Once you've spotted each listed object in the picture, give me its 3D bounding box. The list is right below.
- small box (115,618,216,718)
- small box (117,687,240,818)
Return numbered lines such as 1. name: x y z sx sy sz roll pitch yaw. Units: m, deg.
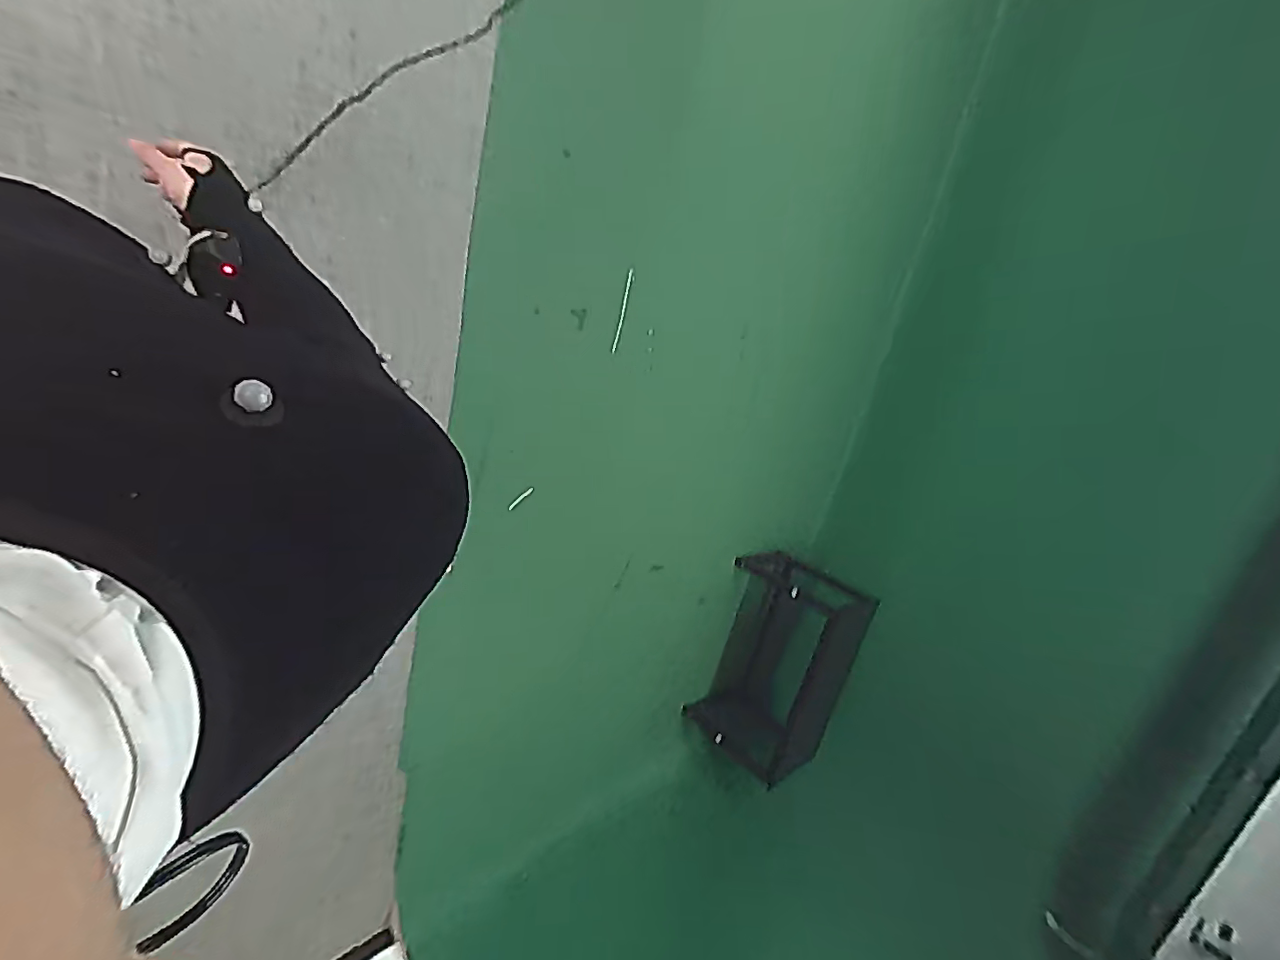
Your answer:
1. small box: -1.226 0.474 1.396 0.179 0.176 0.168 4 108 -46
2. small box: -1.006 0.578 1.177 0.179 0.176 0.168 7 106 -47
